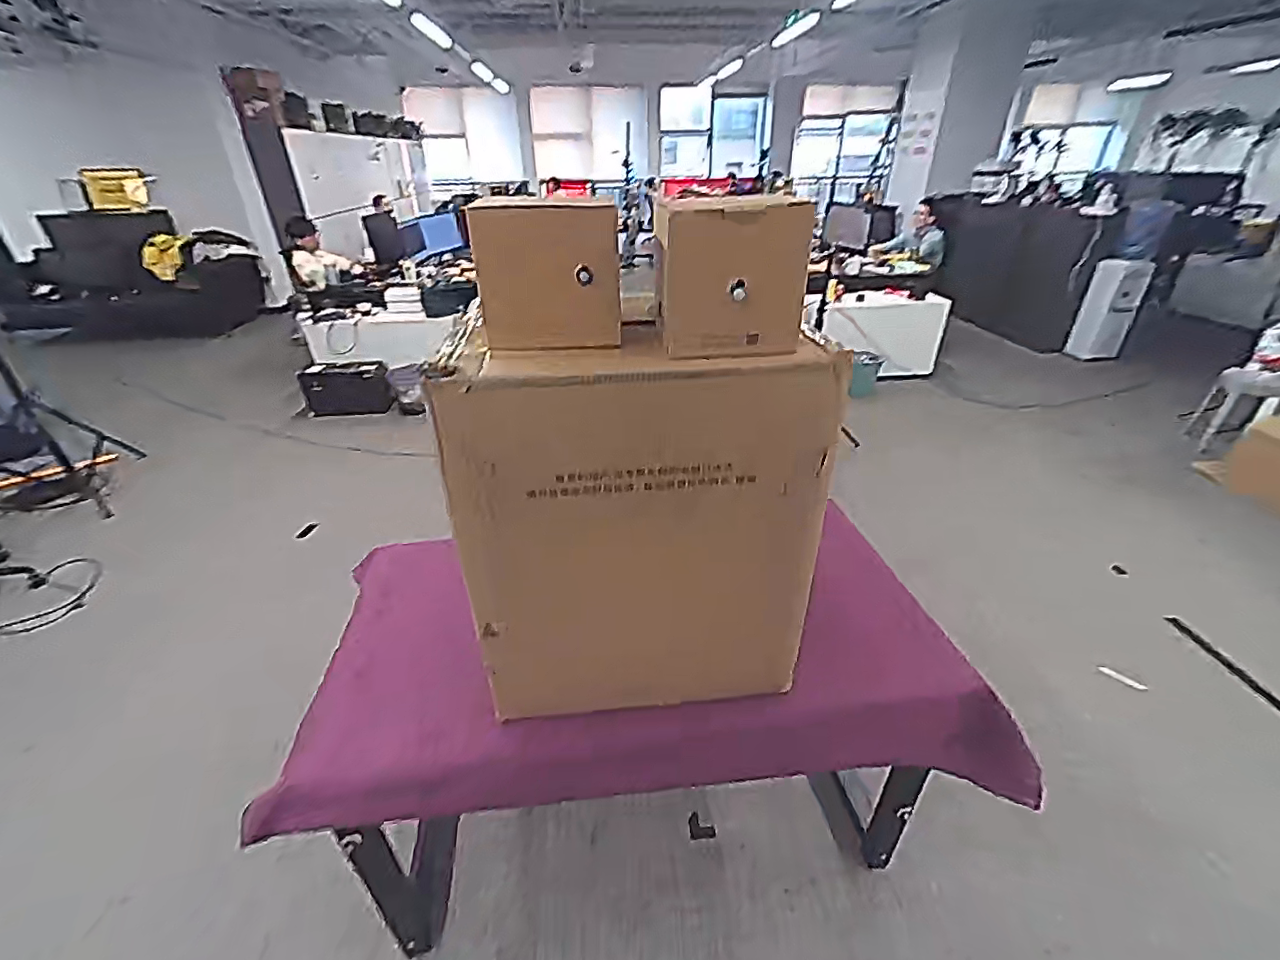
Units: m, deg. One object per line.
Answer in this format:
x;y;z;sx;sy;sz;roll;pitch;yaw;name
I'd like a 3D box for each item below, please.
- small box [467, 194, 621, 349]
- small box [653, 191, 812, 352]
-0.117;-0.282;0.723;0.179;0.176;0.168;-4;30;-5;small box
0.107;-0.268;0.698;0.168;0.176;0.179;-4;31;-3;small box
